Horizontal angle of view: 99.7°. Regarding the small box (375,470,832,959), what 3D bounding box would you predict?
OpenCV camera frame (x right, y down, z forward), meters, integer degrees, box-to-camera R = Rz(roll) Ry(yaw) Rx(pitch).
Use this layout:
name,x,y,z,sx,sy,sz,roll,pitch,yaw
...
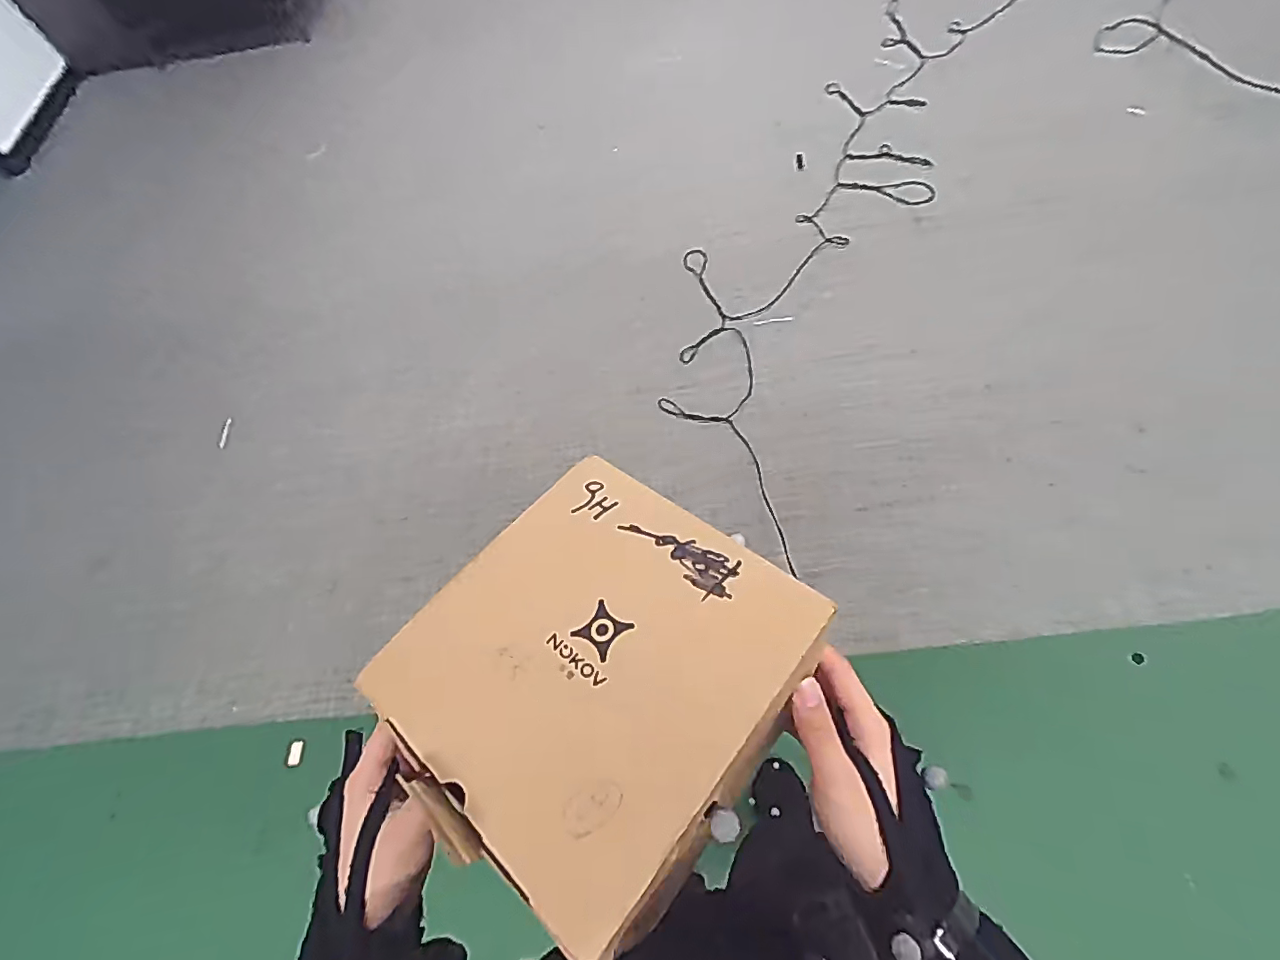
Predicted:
name,x,y,z,sx,sy,sz,roll,pitch,yaw
small box,-0.008,0.134,0.328,0.168,0.176,0.179,32,65,28
